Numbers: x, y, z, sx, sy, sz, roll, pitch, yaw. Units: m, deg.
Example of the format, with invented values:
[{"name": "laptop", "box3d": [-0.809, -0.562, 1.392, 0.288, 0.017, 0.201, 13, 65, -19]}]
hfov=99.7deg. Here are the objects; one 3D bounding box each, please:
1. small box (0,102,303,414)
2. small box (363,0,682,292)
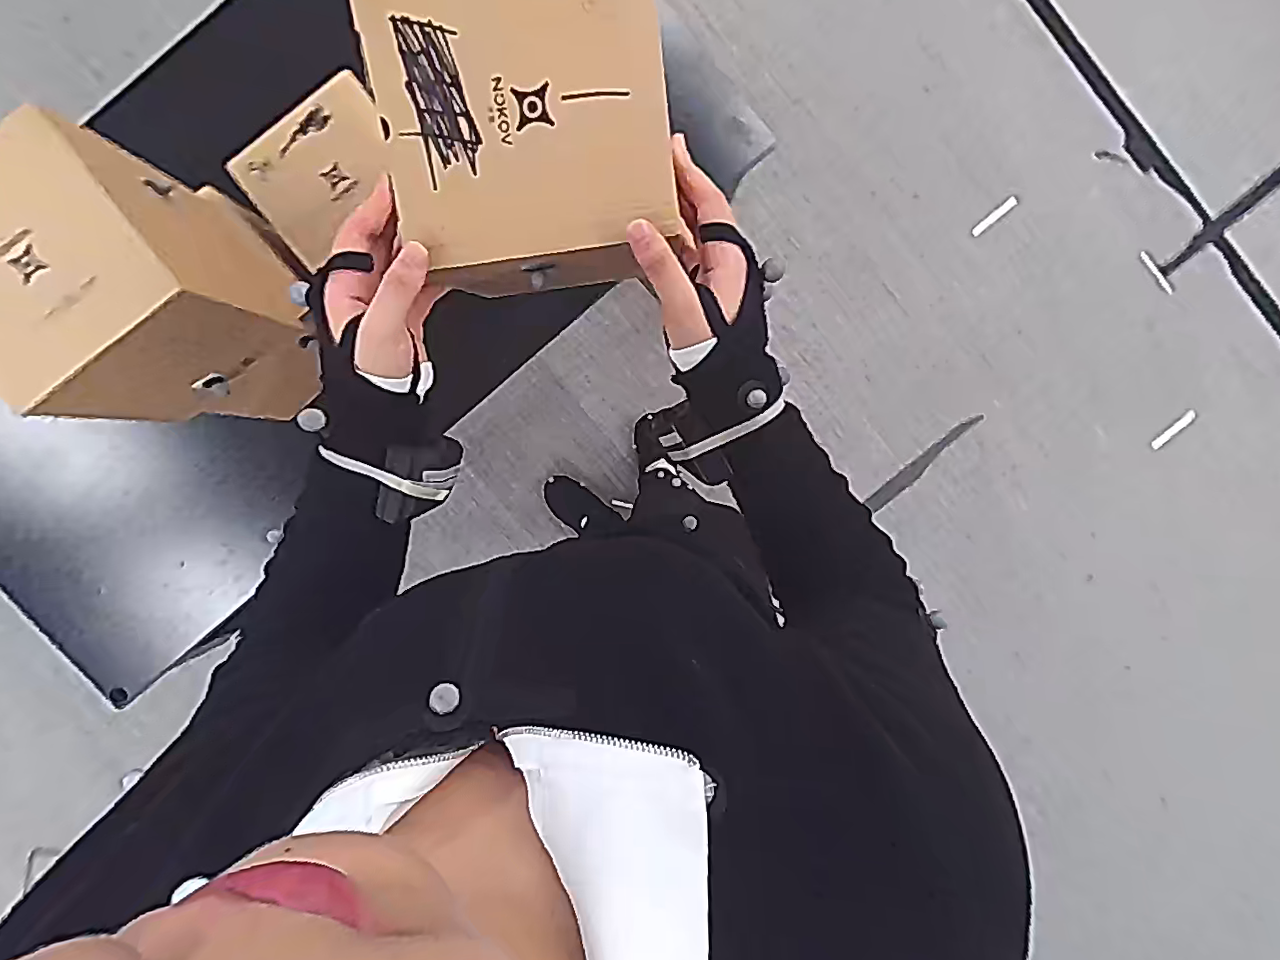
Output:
[{"name": "small box", "box3d": [-0.464, -0.173, 0.490, 0.168, 0.176, 0.179, -38, 95, 2]}, {"name": "small box", "box3d": [-0.064, -0.239, 0.397, 0.179, 0.176, 0.168, -6, 103, 3]}]
